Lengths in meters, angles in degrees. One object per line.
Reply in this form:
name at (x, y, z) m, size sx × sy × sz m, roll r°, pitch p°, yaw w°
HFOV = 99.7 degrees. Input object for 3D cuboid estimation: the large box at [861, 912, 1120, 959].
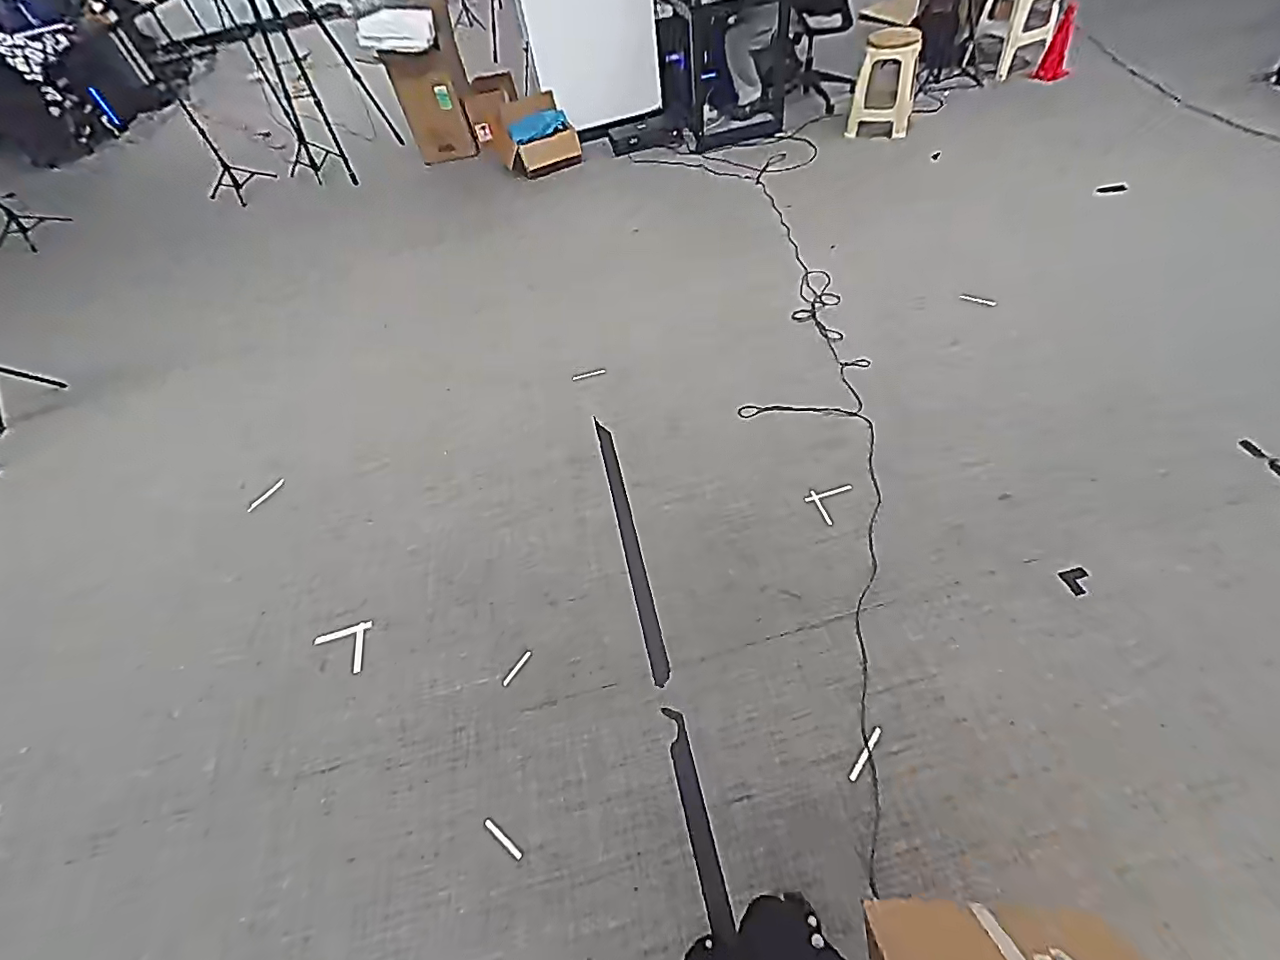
large box at (0.457, 0.750, 0.569) m, size 0.320 × 0.408 × 0.320 m, roll -3°, pitch 78°, yaw 9°
